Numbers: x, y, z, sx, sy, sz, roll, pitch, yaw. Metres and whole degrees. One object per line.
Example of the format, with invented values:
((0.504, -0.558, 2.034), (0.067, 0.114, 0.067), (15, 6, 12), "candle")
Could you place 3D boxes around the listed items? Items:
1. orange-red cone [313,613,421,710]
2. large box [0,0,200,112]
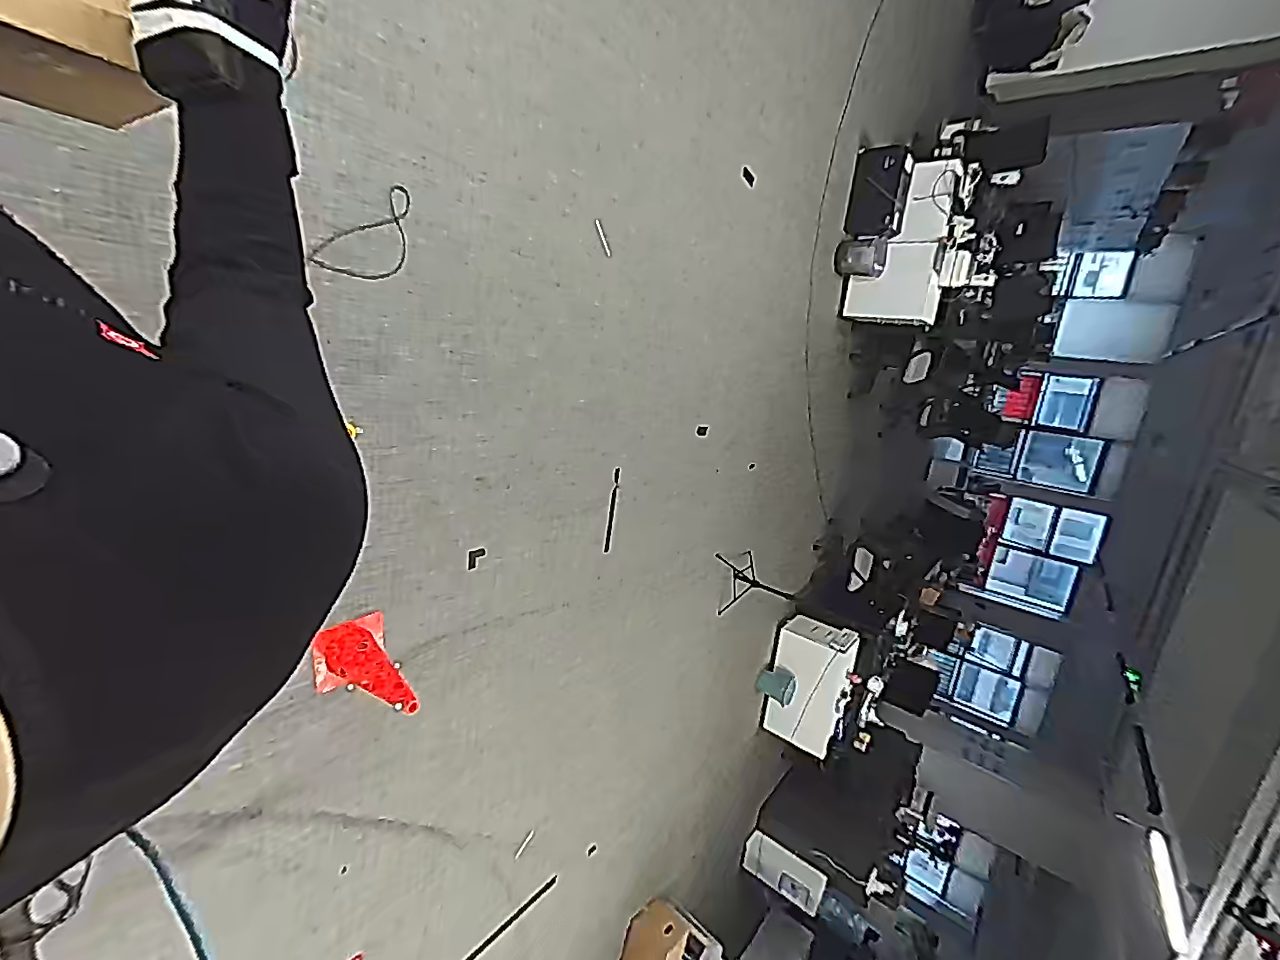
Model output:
((-0.729, 0.544, 1.507), (0.198, 0.360, 0.199), (-14, 113, -51), "orange-red cone")
((-0.542, -0.468, 0.295), (0.408, 0.320, 0.320), (-8, 114, -52), "large box")
